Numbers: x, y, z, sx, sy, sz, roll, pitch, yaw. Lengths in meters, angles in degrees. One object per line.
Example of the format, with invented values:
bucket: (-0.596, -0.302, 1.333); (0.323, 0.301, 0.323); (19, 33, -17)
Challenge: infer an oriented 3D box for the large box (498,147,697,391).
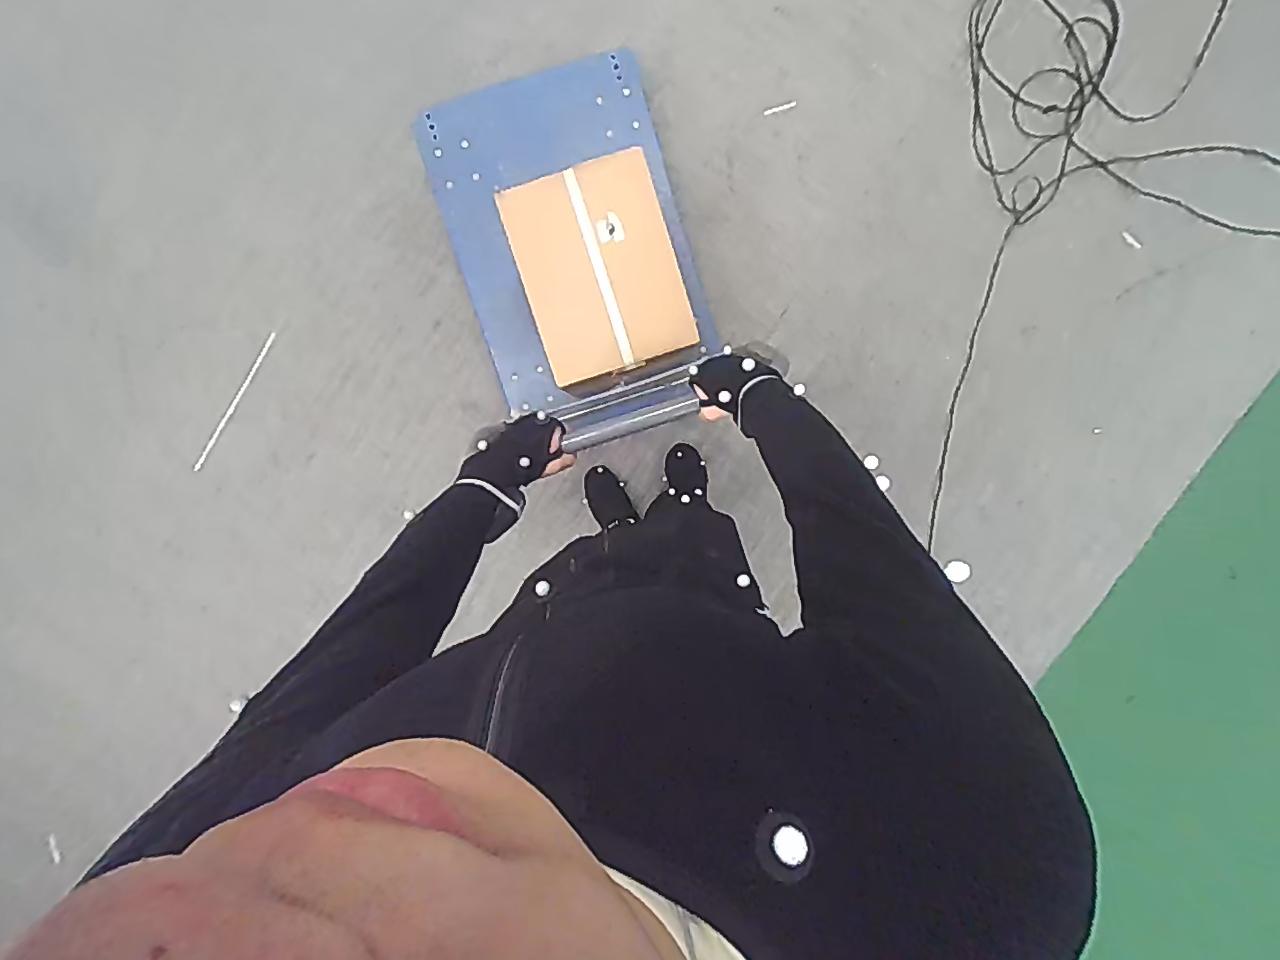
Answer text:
large box: (-0.084, -0.453, 1.257); (0.320, 0.320, 0.408); (-17, 95, 0)
